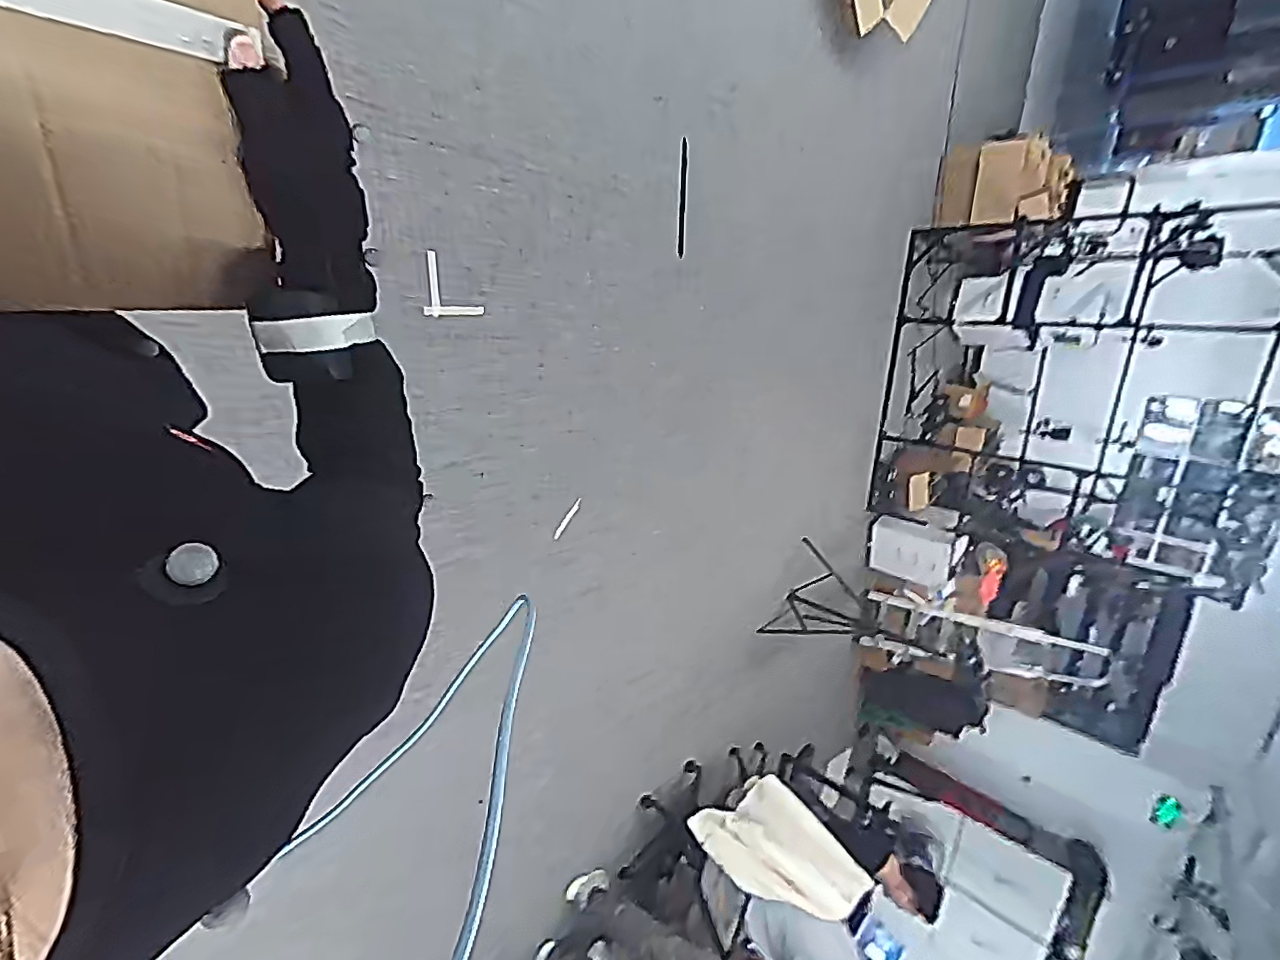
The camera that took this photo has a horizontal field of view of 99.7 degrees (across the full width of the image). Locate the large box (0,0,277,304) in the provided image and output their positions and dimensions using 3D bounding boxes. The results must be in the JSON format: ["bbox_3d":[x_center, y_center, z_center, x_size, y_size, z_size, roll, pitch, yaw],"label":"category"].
[{"bbox_3d":[-0.465,-0.293,0.257,0.408,0.320,0.320,-18,140,-44],"label":"large box"}]
